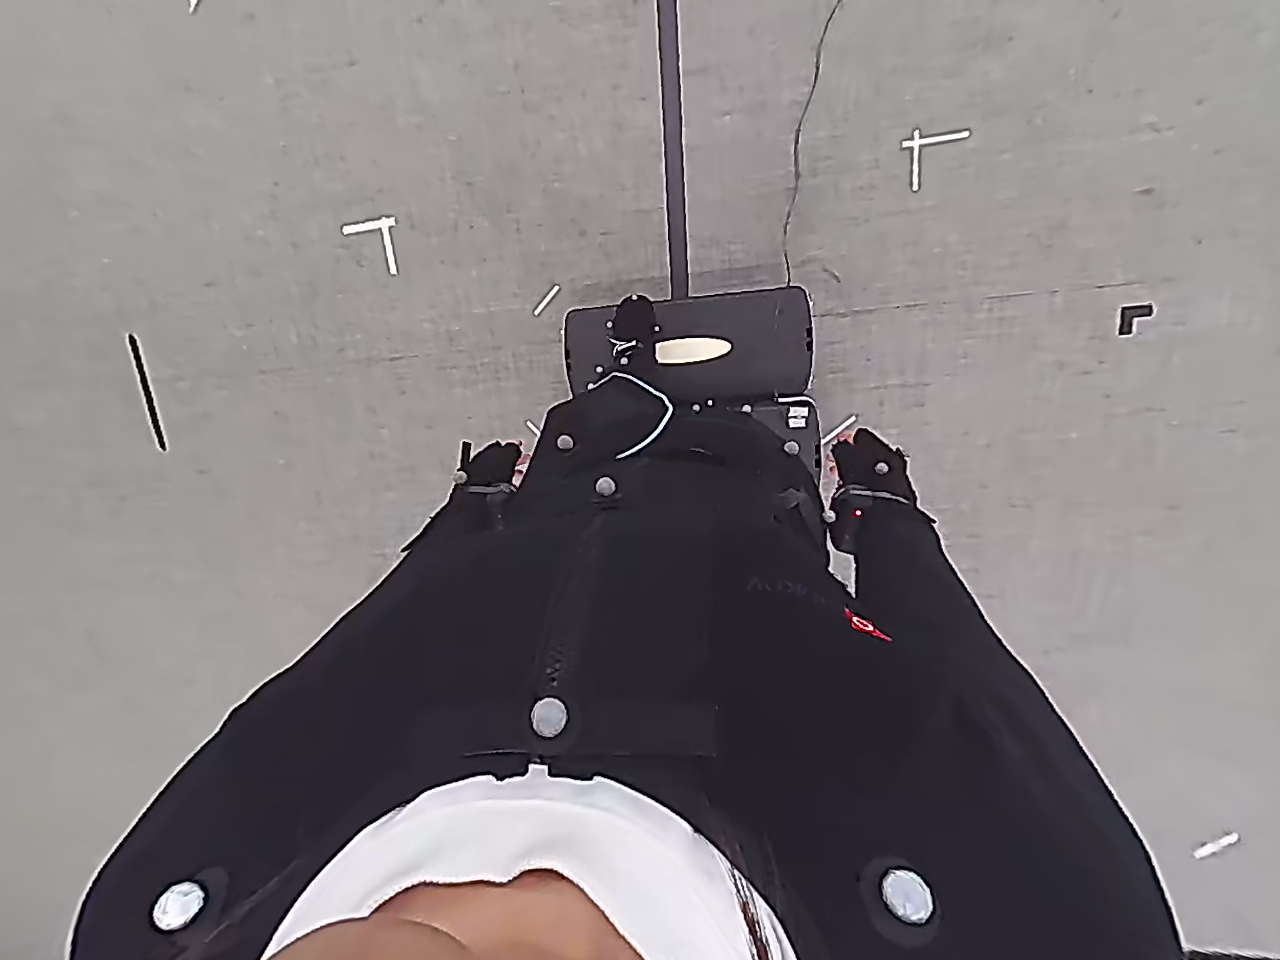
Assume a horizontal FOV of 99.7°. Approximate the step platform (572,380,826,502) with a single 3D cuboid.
[{"bbox_3d":[0.155,-0.103,1.492,0.684,0.204,0.286,-3,101,11],"label":"step platform"}]
